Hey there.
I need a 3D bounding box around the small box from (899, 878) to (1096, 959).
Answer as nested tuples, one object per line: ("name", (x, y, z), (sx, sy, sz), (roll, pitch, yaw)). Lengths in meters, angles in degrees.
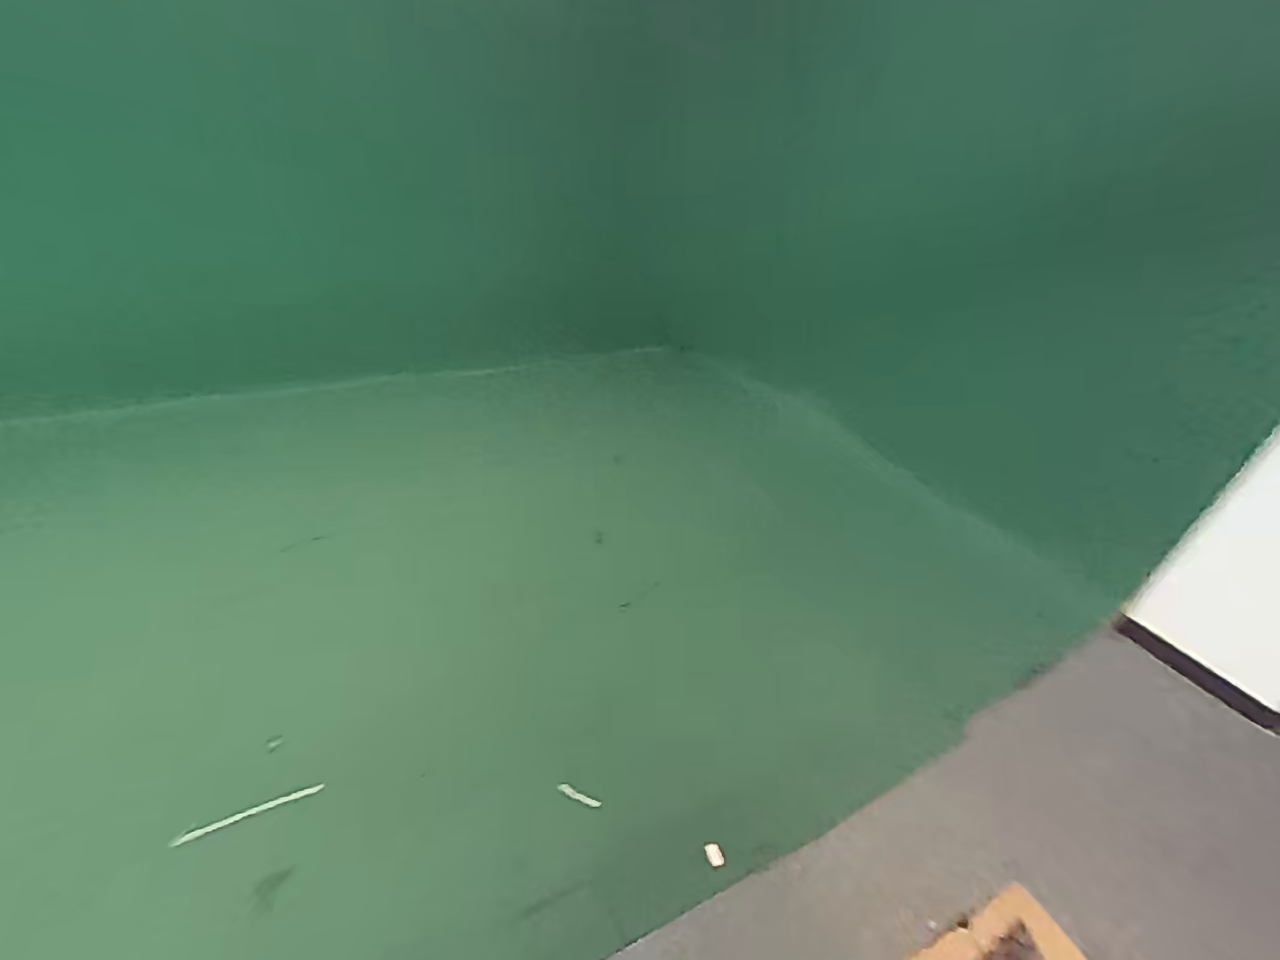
("small box", (0.340, 0.526, 0.501), (0.168, 0.176, 0.179), (-12, 41, -22))
